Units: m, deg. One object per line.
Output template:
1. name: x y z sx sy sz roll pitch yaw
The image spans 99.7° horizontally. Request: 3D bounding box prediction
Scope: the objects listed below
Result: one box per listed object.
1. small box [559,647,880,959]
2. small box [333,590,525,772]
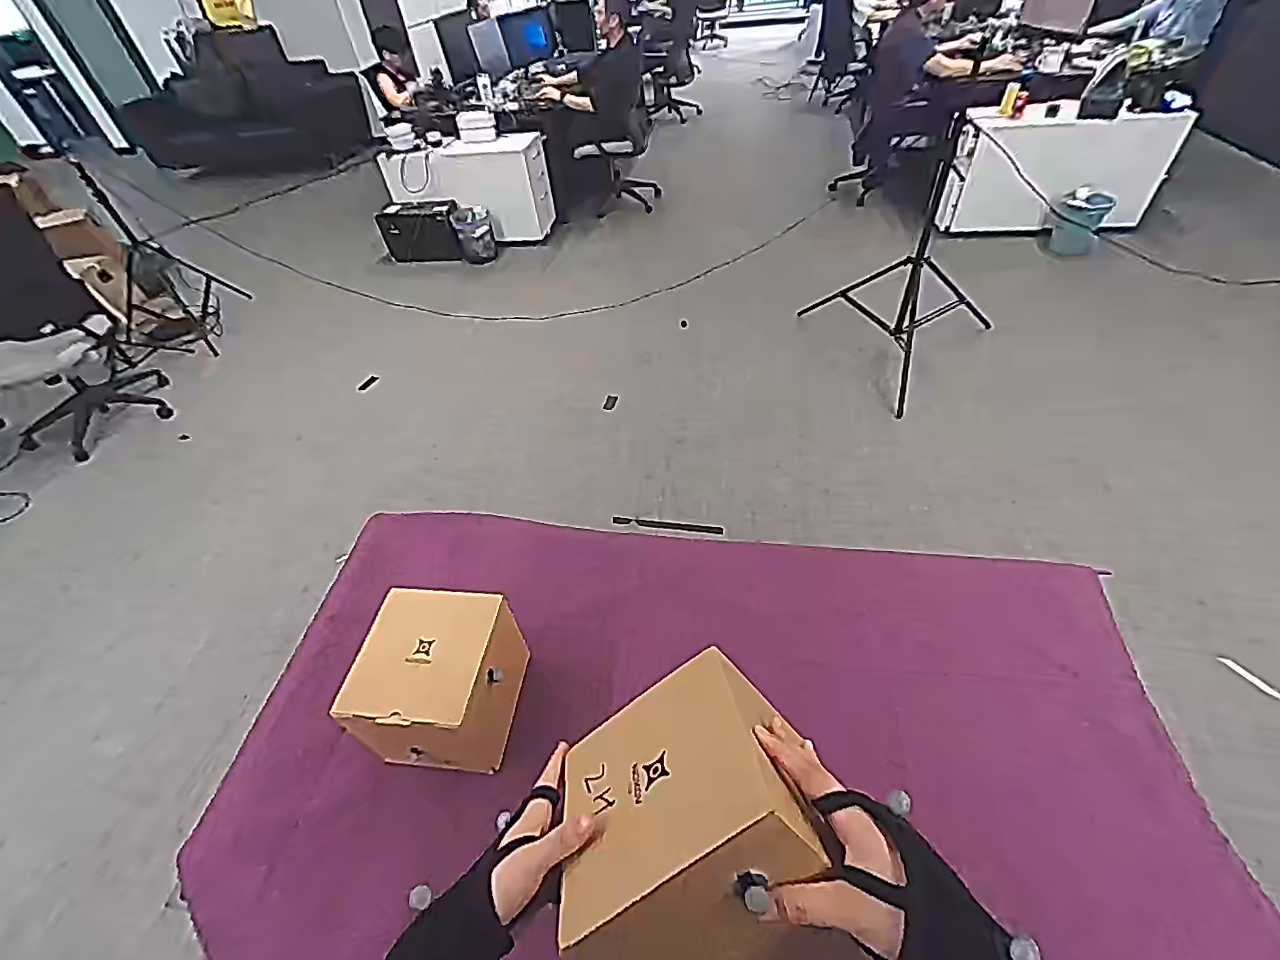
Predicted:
1. small box: 0.058 0.279 0.430 0.179 0.176 0.168 -39 17 7
2. small box: -0.267 0.273 0.737 0.168 0.176 0.179 2 47 7
